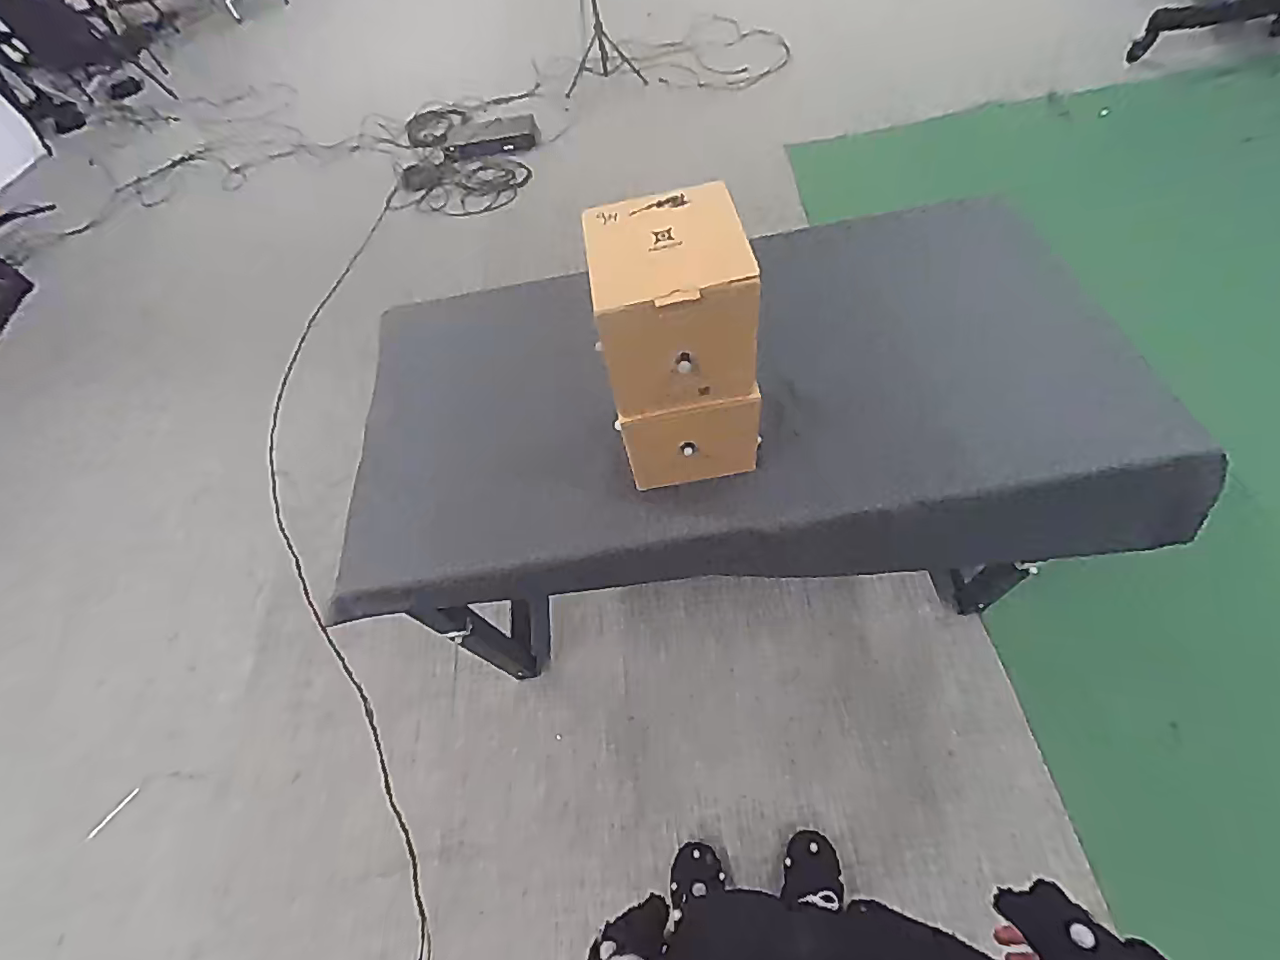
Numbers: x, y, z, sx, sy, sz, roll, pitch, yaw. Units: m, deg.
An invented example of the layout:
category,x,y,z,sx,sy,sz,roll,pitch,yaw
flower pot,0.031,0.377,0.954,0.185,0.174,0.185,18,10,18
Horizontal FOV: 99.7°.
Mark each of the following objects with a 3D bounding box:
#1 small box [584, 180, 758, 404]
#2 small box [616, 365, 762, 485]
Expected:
category,x,y,z,sx,sy,sz,roll,pitch,yaw
small box,0.037,-0.206,0.631,0.168,0.176,0.179,-10,59,3
small box,0.064,-0.112,0.762,0.179,0.176,0.168,-11,58,4
